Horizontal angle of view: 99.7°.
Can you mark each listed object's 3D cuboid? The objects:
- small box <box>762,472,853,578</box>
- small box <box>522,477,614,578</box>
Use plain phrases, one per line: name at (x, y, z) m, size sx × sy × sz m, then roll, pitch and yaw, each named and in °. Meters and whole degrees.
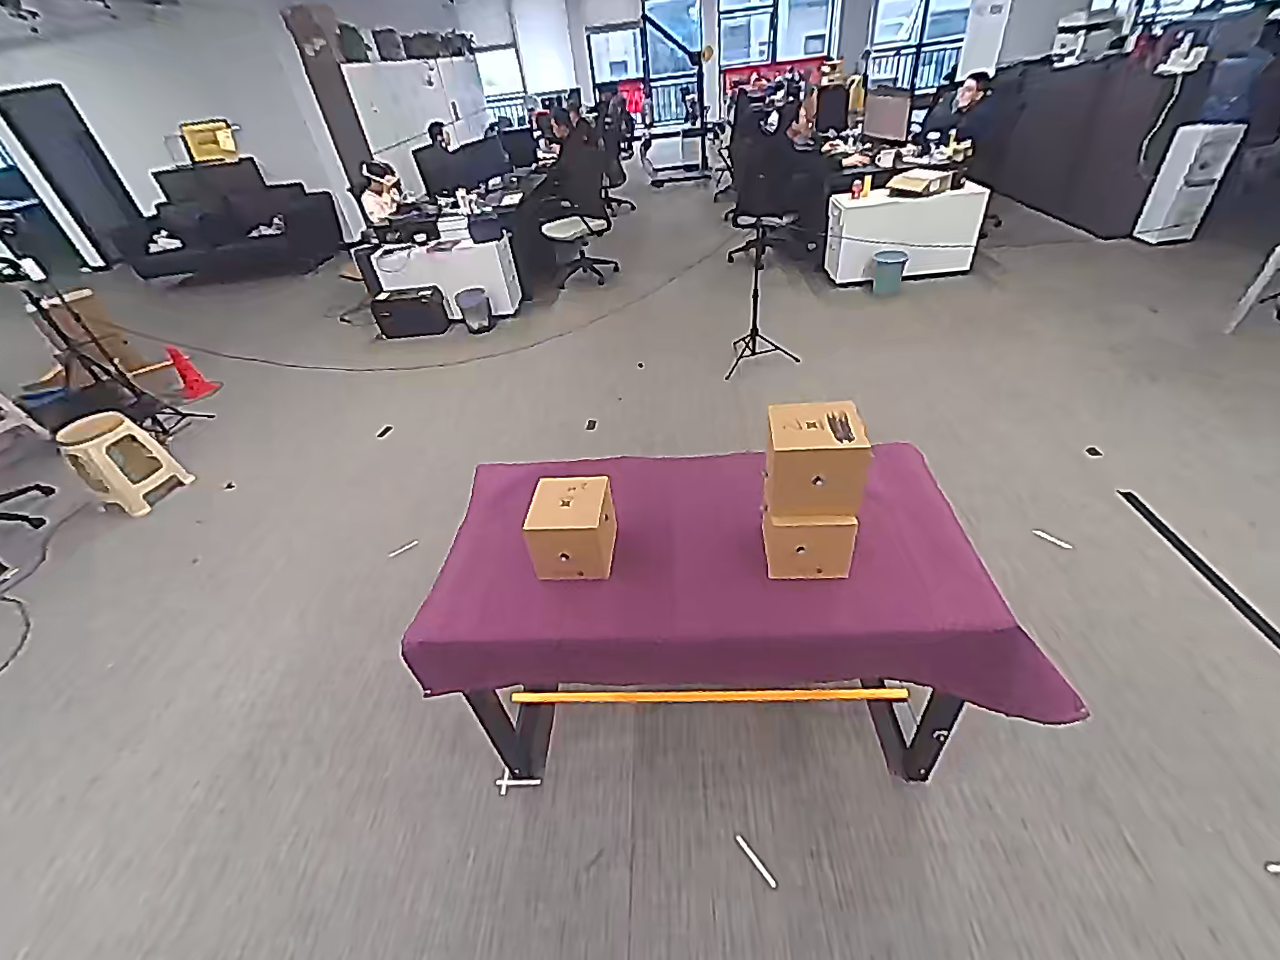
small box at (0.359, 0.102, 1.189) m, size 0.168 × 0.176 × 0.179 m, roll -2°, pitch 38°, yaw 8°
small box at (-0.157, 0.113, 1.256) m, size 0.168 × 0.176 × 0.179 m, roll -1°, pitch 39°, yaw 7°
